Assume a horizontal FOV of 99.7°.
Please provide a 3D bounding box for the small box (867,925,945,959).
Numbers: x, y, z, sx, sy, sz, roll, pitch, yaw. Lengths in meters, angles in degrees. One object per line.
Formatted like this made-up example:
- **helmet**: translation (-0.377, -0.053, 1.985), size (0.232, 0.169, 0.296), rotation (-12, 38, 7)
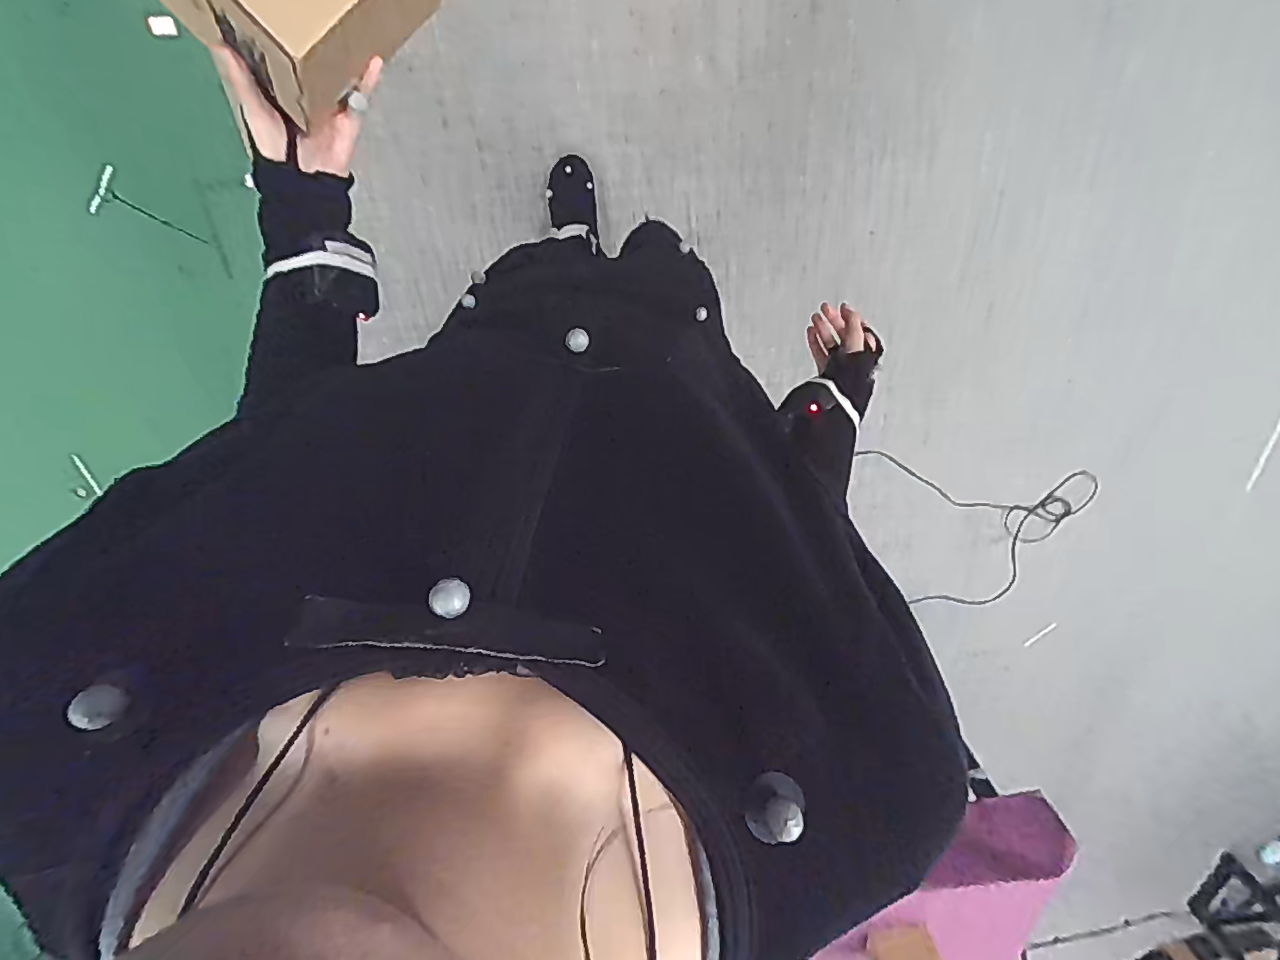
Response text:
- **small box**: translation (0.771, 1.402, 1.537), size (0.179, 0.176, 0.168), rotation (-7, 119, 2)
